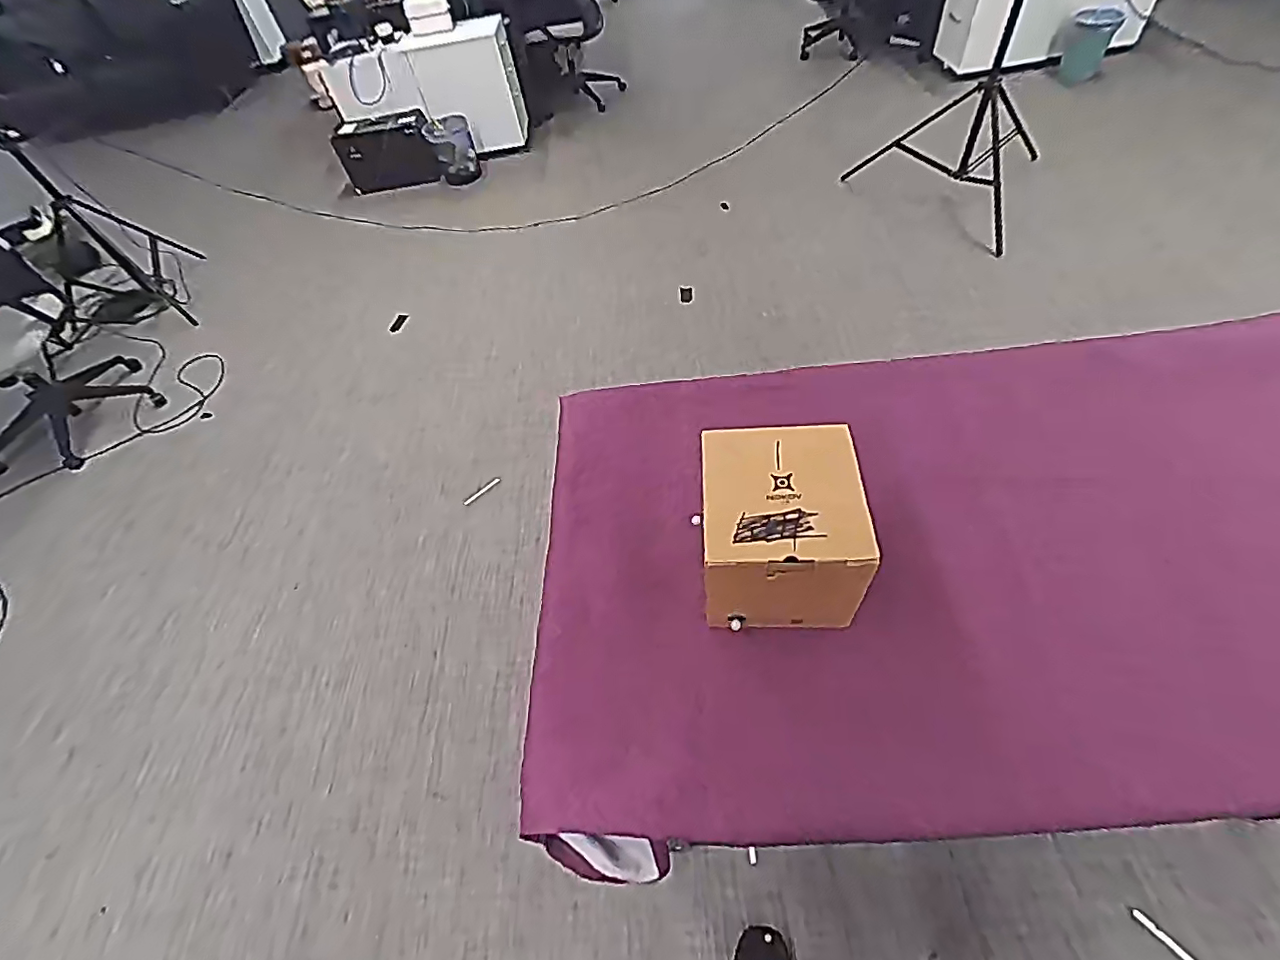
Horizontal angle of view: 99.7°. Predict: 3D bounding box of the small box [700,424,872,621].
[{"bbox_3d":[0.157,0.056,0.635,0.168,0.176,0.179,-2,53,7],"label":"small box"}]
